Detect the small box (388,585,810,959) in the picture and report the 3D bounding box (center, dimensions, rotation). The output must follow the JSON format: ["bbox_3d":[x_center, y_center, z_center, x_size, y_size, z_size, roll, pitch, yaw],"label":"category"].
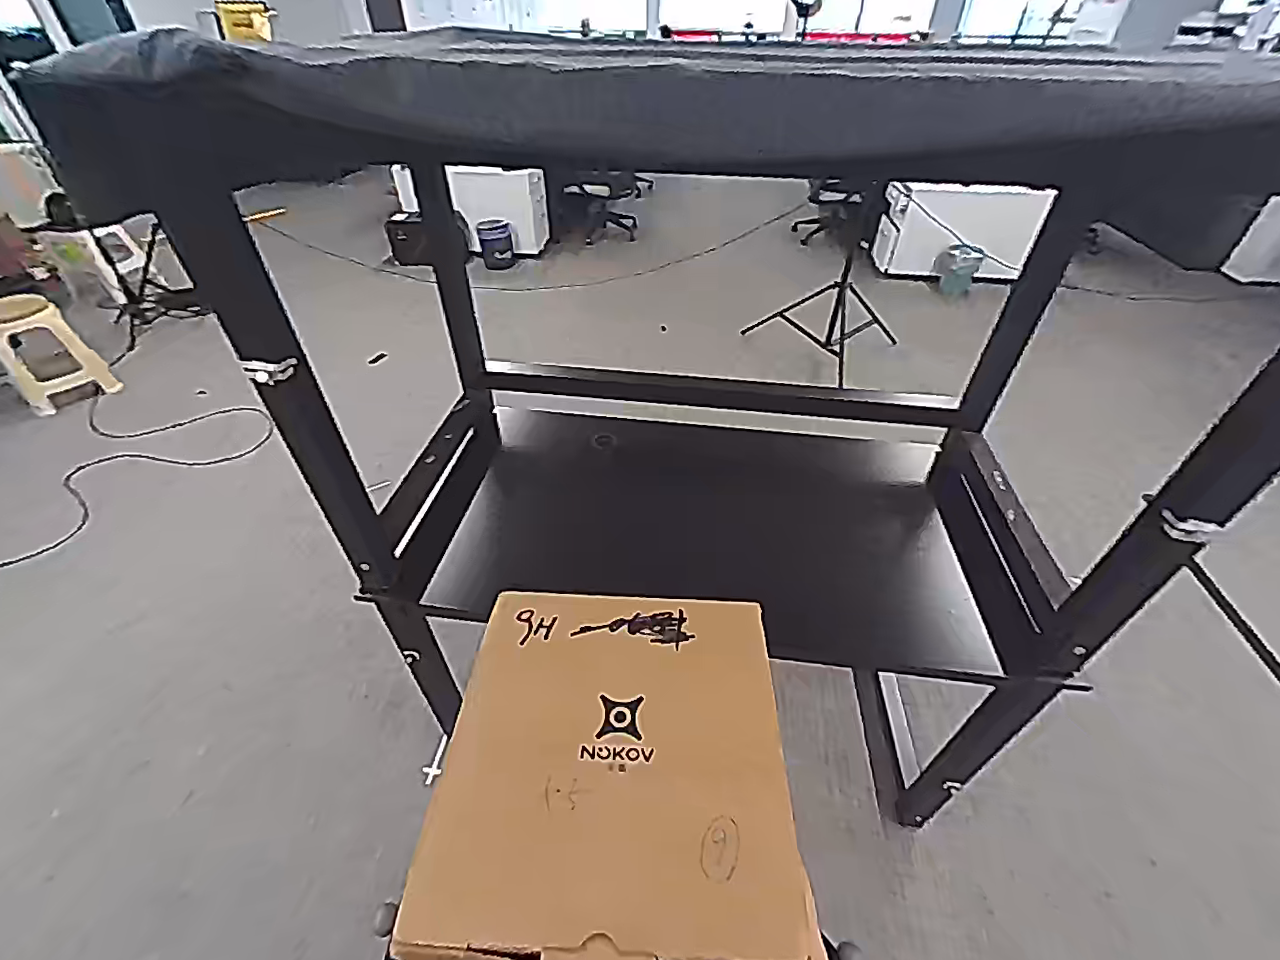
[{"bbox_3d":[-0.014,0.185,0.318,0.168,0.176,0.179,3,40,0],"label":"small box"}]
